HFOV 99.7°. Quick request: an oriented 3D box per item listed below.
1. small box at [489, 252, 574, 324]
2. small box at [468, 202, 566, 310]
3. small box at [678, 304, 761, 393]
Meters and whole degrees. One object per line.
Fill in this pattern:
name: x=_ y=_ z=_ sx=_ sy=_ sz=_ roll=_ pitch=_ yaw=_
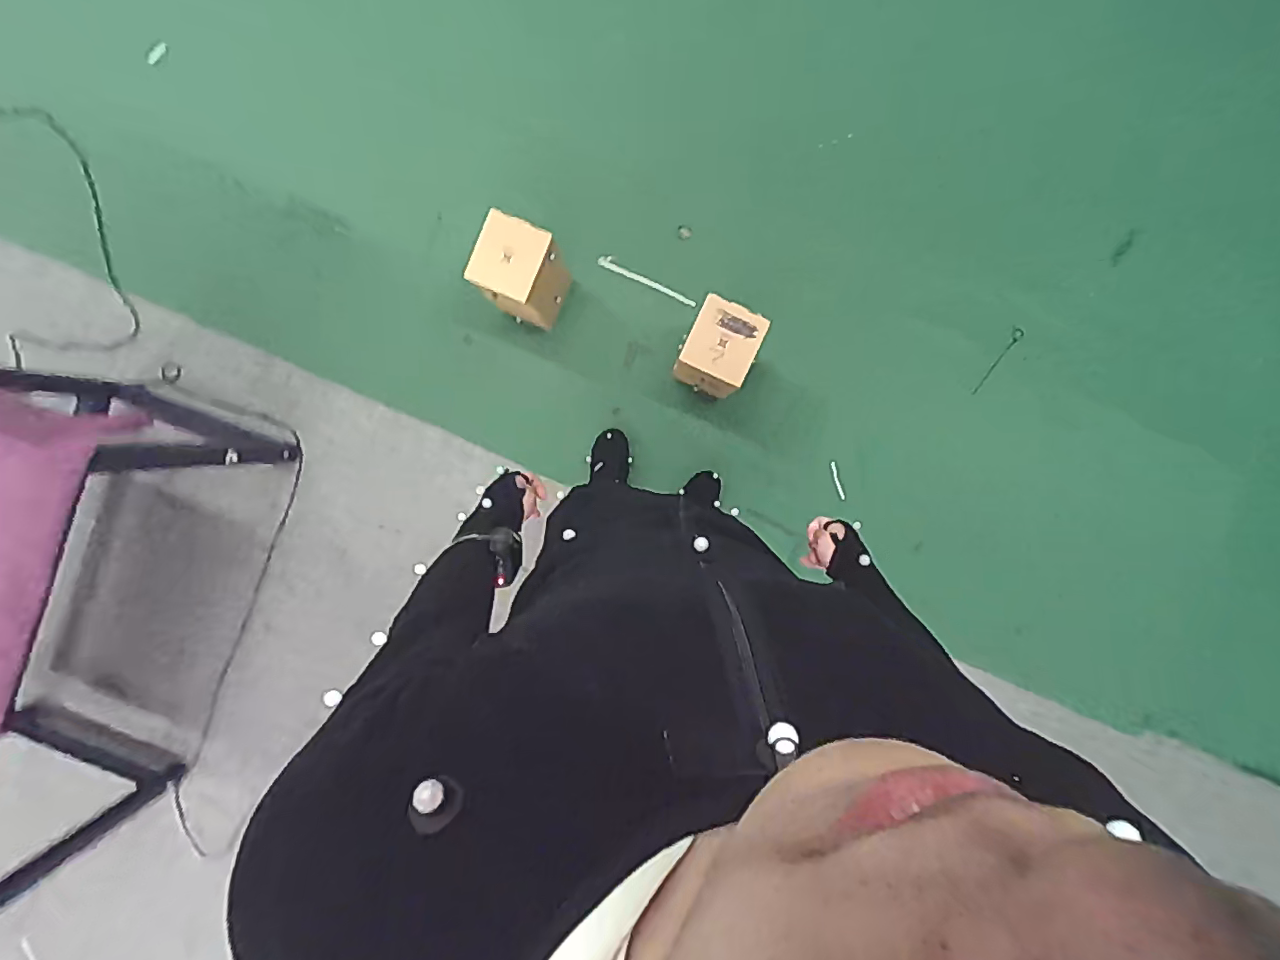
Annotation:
small box: x=-0.296 y=-0.565 z=1.524 sx=0.168 sy=0.176 sz=0.179 roll=24 pitch=95 yaw=1
small box: x=-0.300 y=-0.553 z=1.363 sx=0.168 sy=0.176 sz=0.179 roll=24 pitch=94 yaw=1
small box: x=0.213 y=-0.361 z=1.517 sx=0.168 sy=0.176 sz=0.179 roll=26 pitch=95 yaw=0
